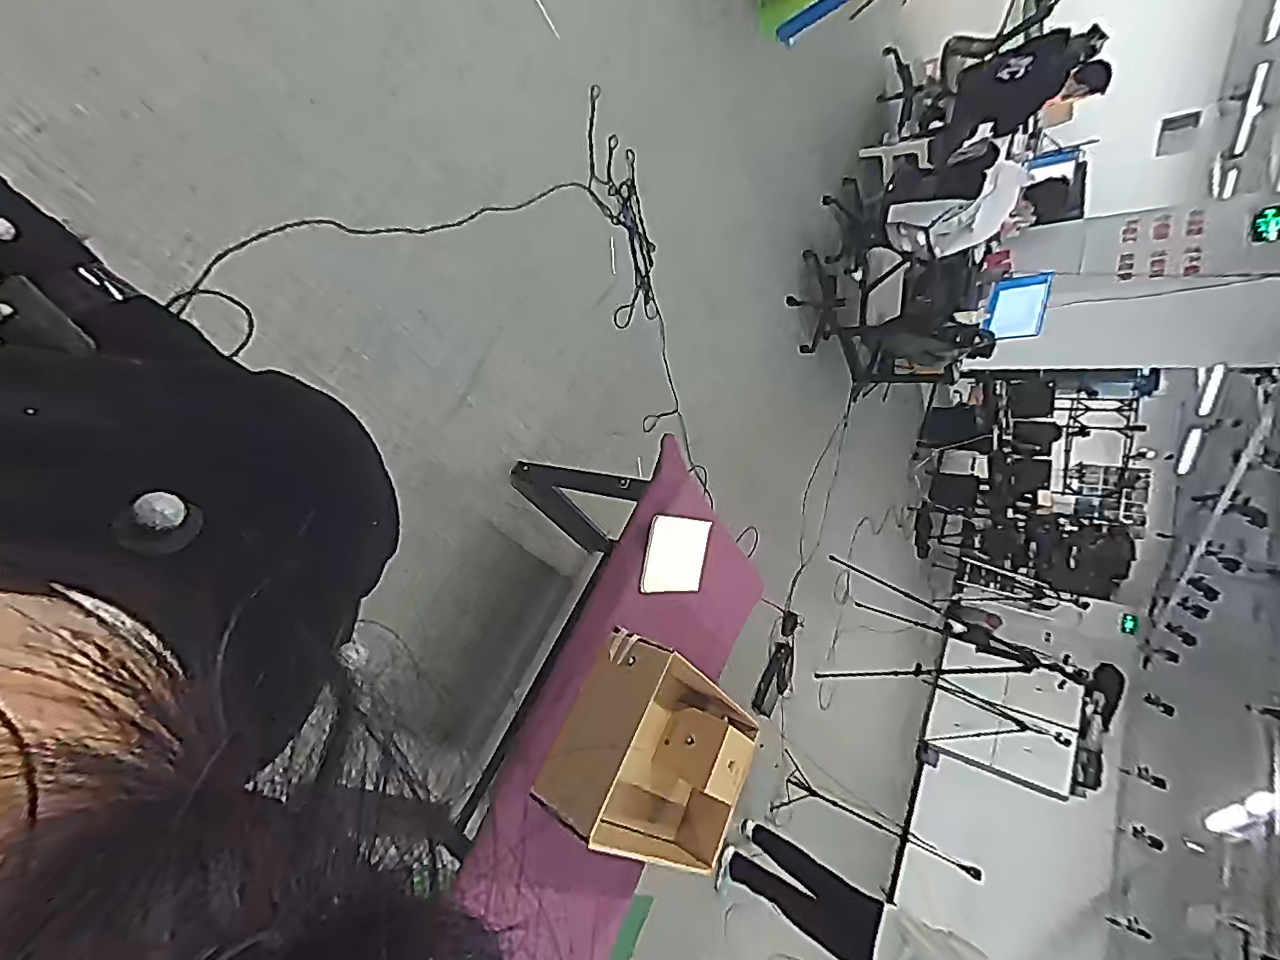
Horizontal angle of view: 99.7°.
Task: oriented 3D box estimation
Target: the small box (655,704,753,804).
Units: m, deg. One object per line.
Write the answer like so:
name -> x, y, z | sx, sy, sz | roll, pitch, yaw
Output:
small box -> 0.165, 0.711, 1.417 | 0.179, 0.176, 0.168 | 51, 59, -41
